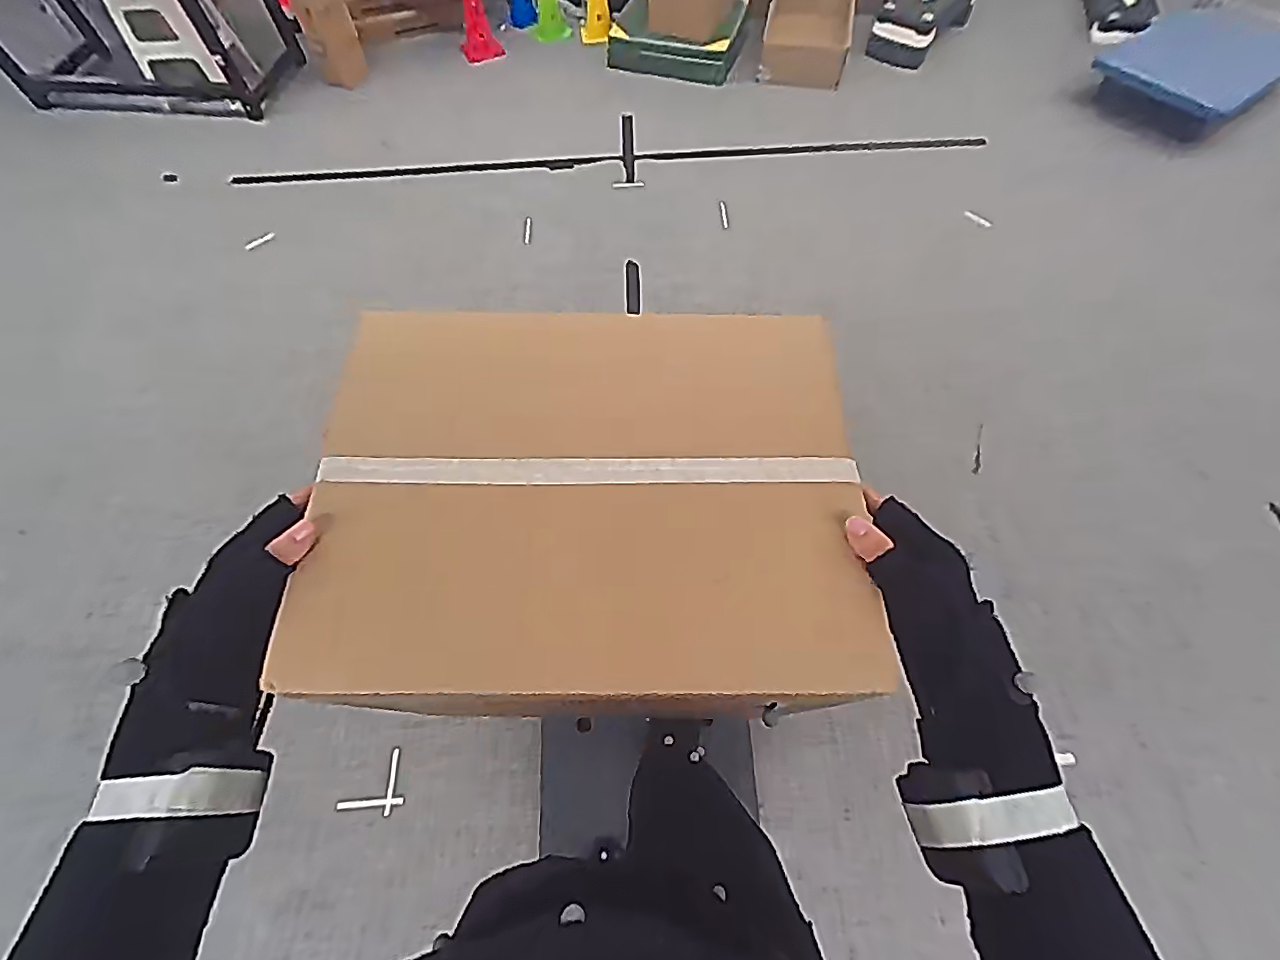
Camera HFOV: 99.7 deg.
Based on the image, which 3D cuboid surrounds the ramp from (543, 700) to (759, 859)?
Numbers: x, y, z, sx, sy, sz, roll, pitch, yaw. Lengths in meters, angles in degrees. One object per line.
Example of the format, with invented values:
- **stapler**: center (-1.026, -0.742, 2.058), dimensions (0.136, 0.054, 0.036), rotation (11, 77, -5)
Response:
- **ramp**: center (0.006, 0.357, 1.352), dimensions (0.509, 0.206, 0.991), rotation (-3, 63, -2)

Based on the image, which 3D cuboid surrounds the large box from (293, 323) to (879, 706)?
- **large box**: center (-0.037, 0.060, 0.559), dimensions (0.408, 0.320, 0.320), rotation (0, 64, -1)
